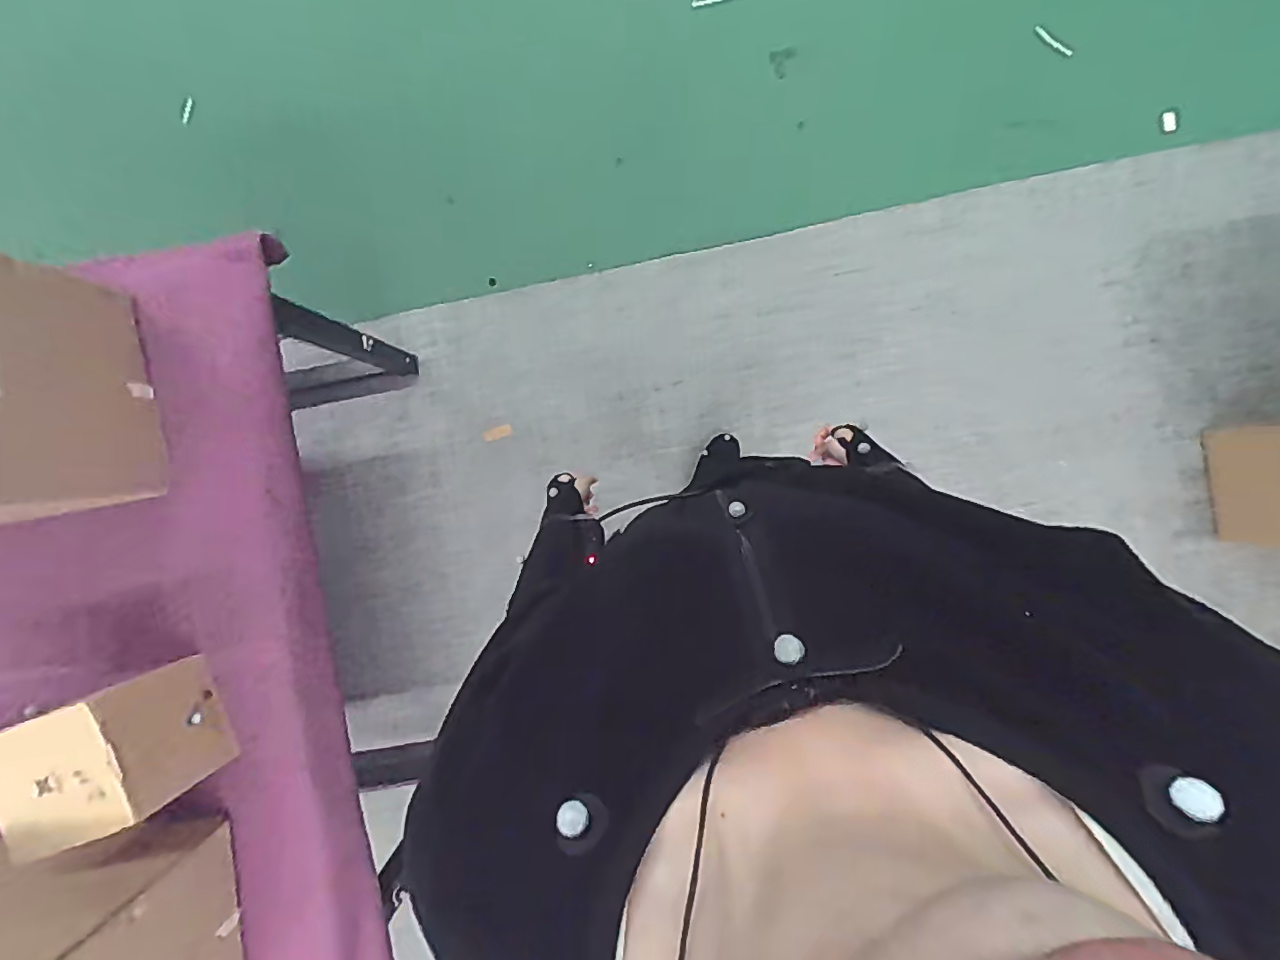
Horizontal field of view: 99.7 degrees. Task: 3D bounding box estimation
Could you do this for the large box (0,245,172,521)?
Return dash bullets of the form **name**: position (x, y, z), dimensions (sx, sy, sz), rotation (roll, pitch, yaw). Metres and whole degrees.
- **large box**: position (-0.928, -0.097, 0.668), dimensions (0.408, 0.320, 0.320), rotation (-11, 93, 2)
